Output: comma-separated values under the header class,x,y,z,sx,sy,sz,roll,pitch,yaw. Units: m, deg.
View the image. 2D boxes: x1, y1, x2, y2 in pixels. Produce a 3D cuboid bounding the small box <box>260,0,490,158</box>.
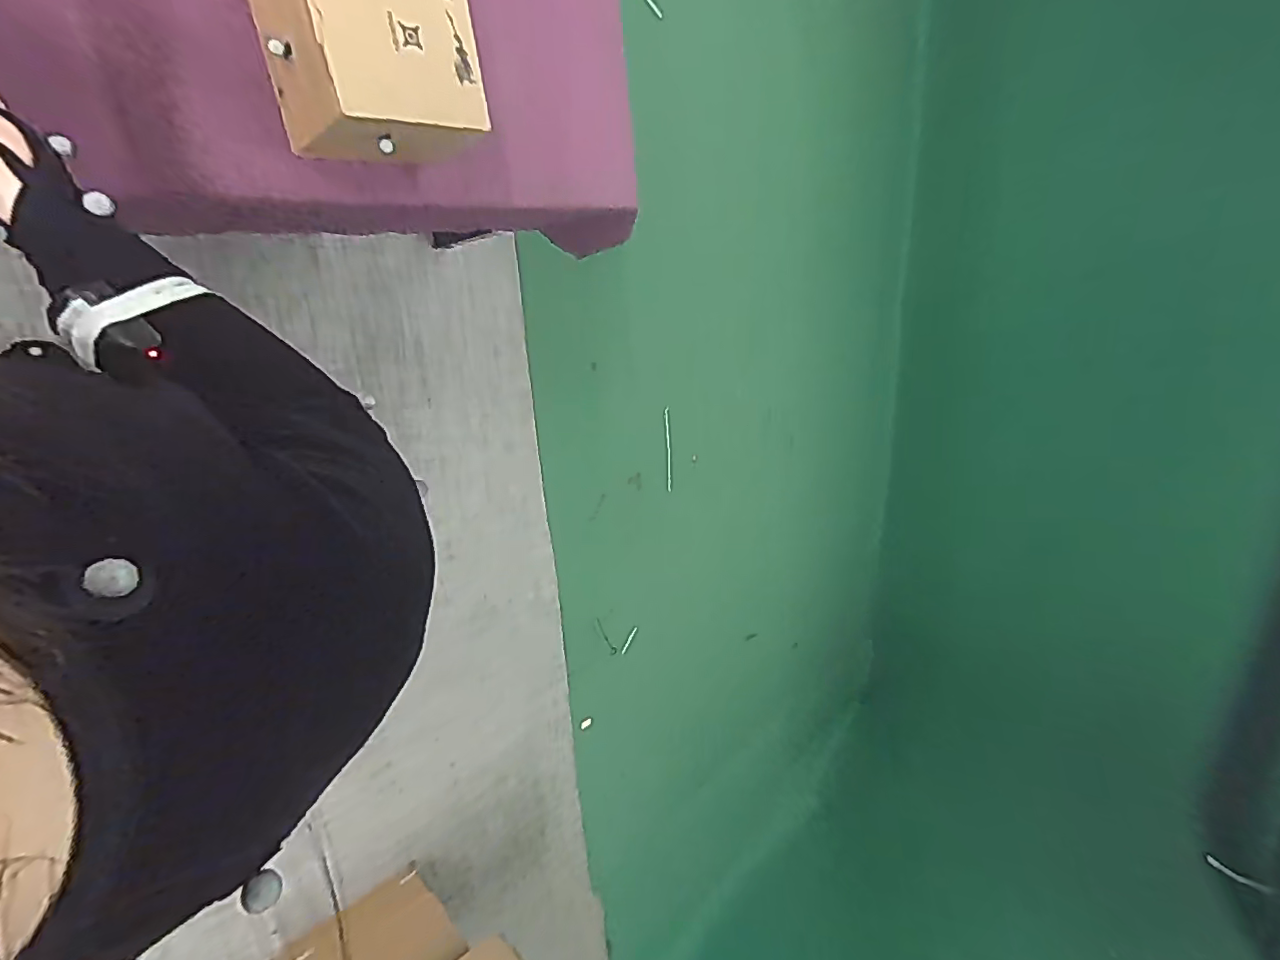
class,x,y,z,sx,sy,sz,roll,pitch,yaw
small box,-0.303,-0.480,0.614,0.179,0.176,0.168,-24,117,-39
